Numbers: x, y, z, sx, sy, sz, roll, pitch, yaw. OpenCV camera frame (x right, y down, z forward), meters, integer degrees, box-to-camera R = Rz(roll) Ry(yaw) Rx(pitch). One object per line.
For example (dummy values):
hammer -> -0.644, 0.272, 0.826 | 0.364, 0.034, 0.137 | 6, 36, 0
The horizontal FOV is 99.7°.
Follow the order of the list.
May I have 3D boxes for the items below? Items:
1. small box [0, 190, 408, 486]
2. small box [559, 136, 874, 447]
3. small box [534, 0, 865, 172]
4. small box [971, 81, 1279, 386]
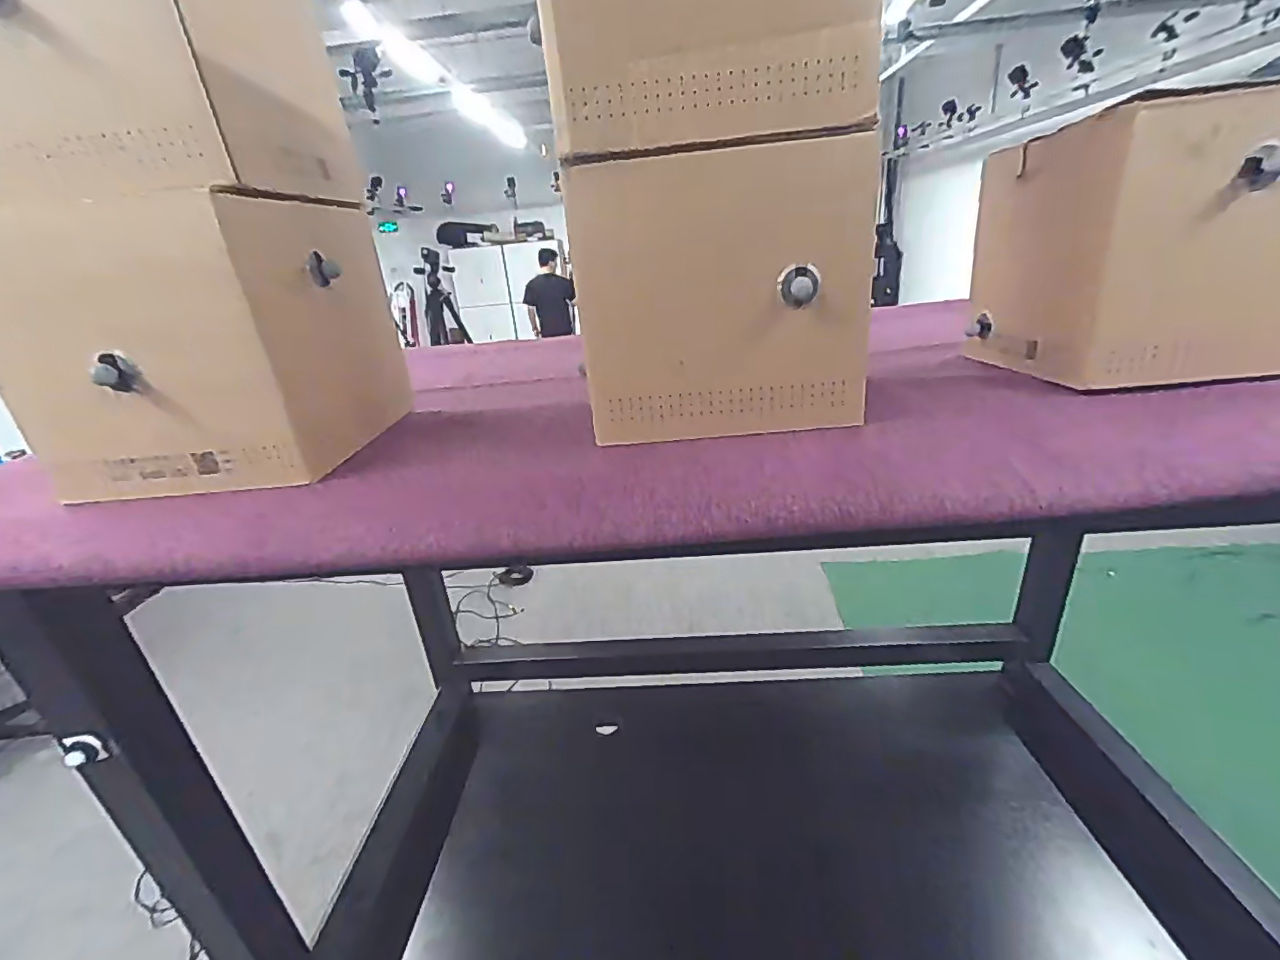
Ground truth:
small box -> -0.291, -0.100, 0.390 | 0.168, 0.176, 0.179 | -4, 23, 1
small box -> 0.050, -0.132, 0.398 | 0.179, 0.176, 0.168 | -5, 22, 3
small box -> 0.029, -0.283, 0.338 | 0.179, 0.176, 0.168 | -5, 22, 1
small box -> 0.372, -0.168, 0.400 | 0.179, 0.176, 0.168 | -3, 20, 5
